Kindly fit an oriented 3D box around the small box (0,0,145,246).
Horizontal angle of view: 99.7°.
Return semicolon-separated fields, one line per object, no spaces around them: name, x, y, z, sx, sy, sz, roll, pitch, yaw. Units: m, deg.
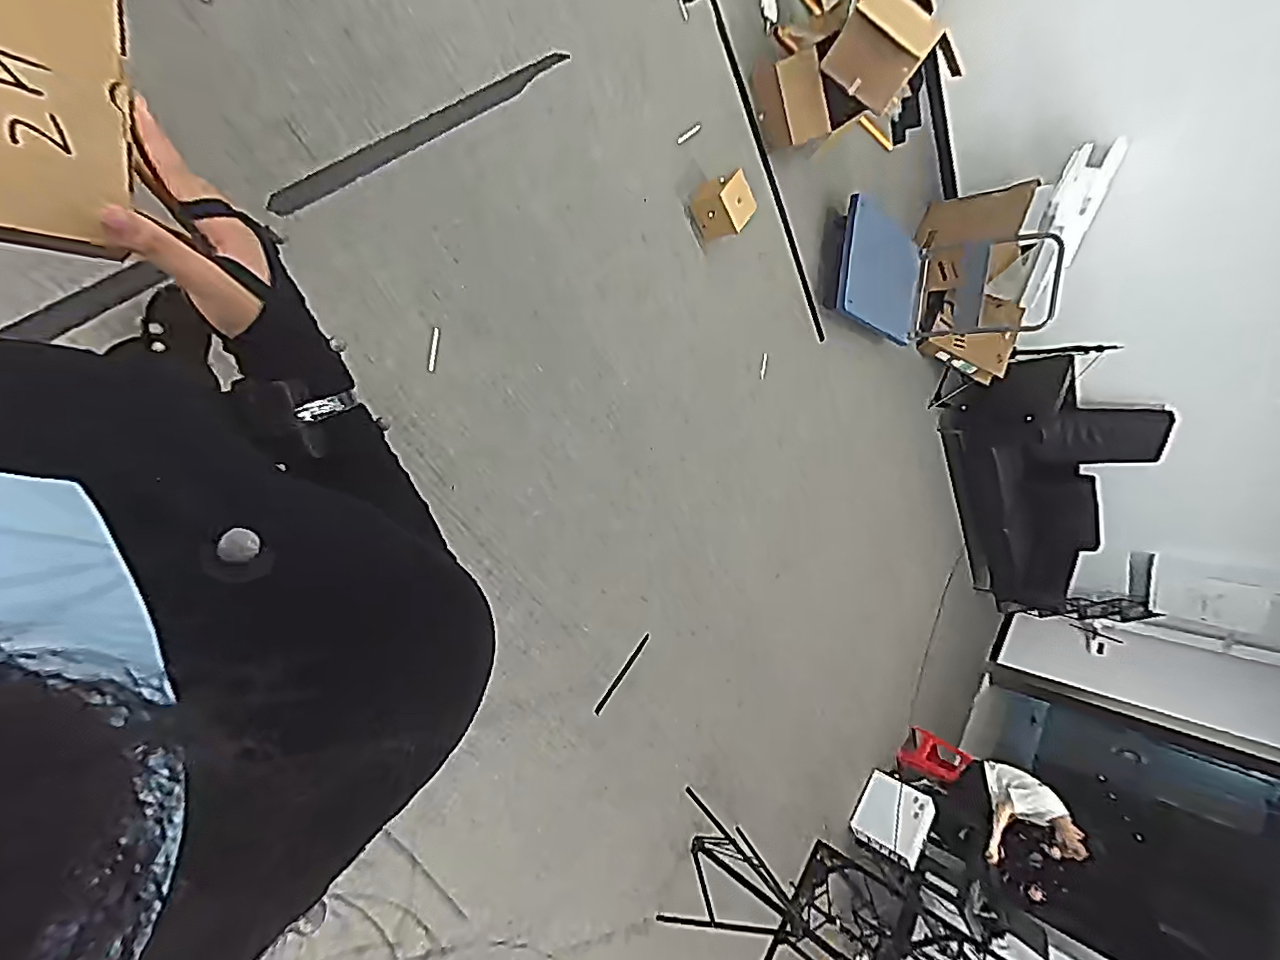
small box;-0.402;-0.237;0.303;0.179;0.176;0.168;-4;107;-45

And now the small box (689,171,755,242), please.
small box;0.316;-1.072;2.133;0.168;0.176;0.179;50;62;-36
